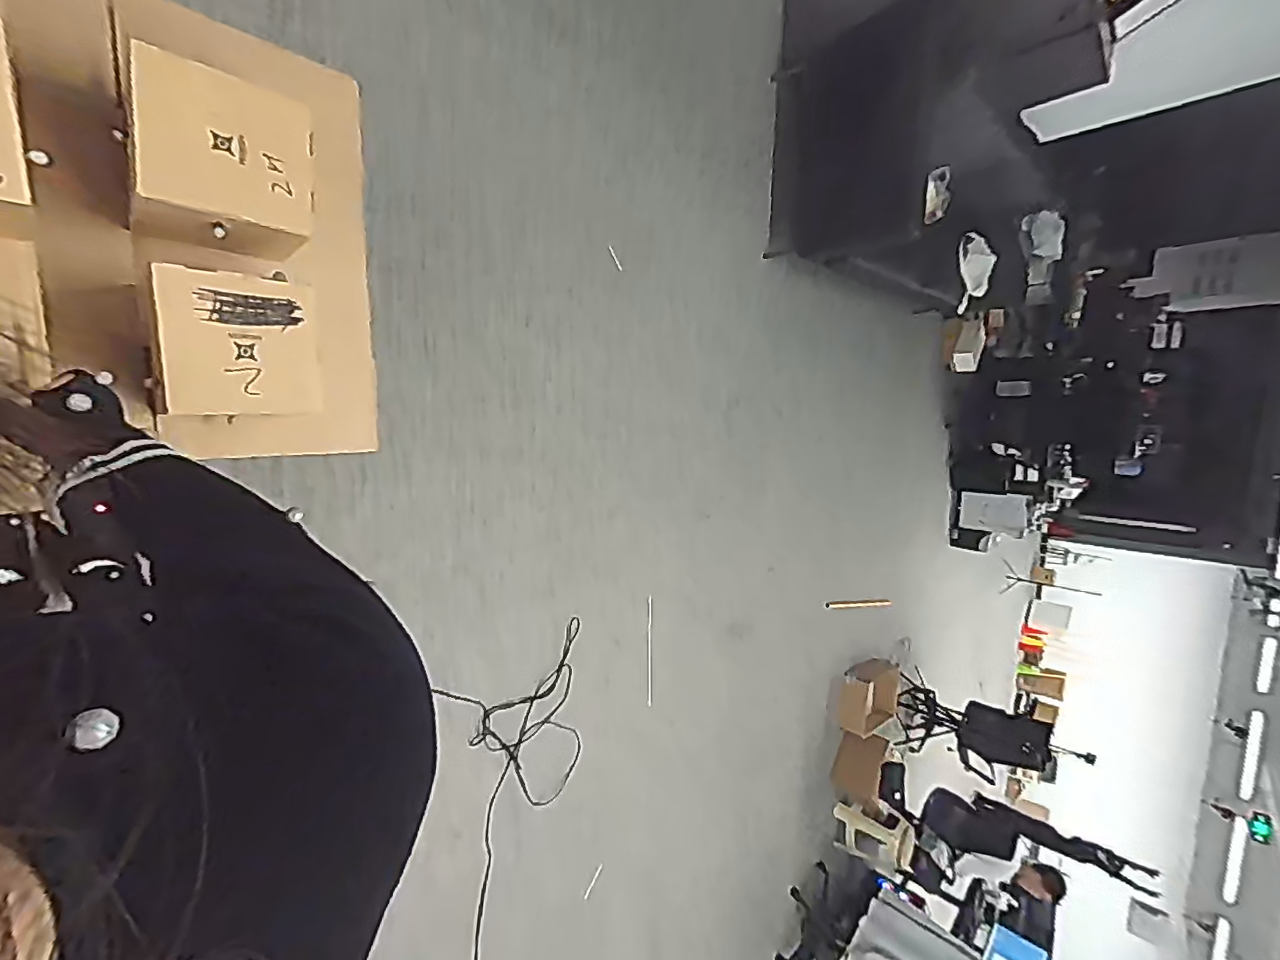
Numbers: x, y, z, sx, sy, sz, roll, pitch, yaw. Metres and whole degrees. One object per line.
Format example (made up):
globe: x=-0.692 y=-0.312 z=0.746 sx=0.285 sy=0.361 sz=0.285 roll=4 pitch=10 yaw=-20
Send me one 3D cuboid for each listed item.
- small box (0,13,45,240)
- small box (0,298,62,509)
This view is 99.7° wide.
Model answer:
small box: x=-0.718 y=-0.358 z=0.528 sx=0.168 sy=0.176 sz=0.179 roll=-8 pitch=100 yaw=-44
small box: x=-0.695 y=-0.064 z=0.520 sx=0.168 sy=0.176 sz=0.179 roll=-8 pitch=80 yaw=-42
